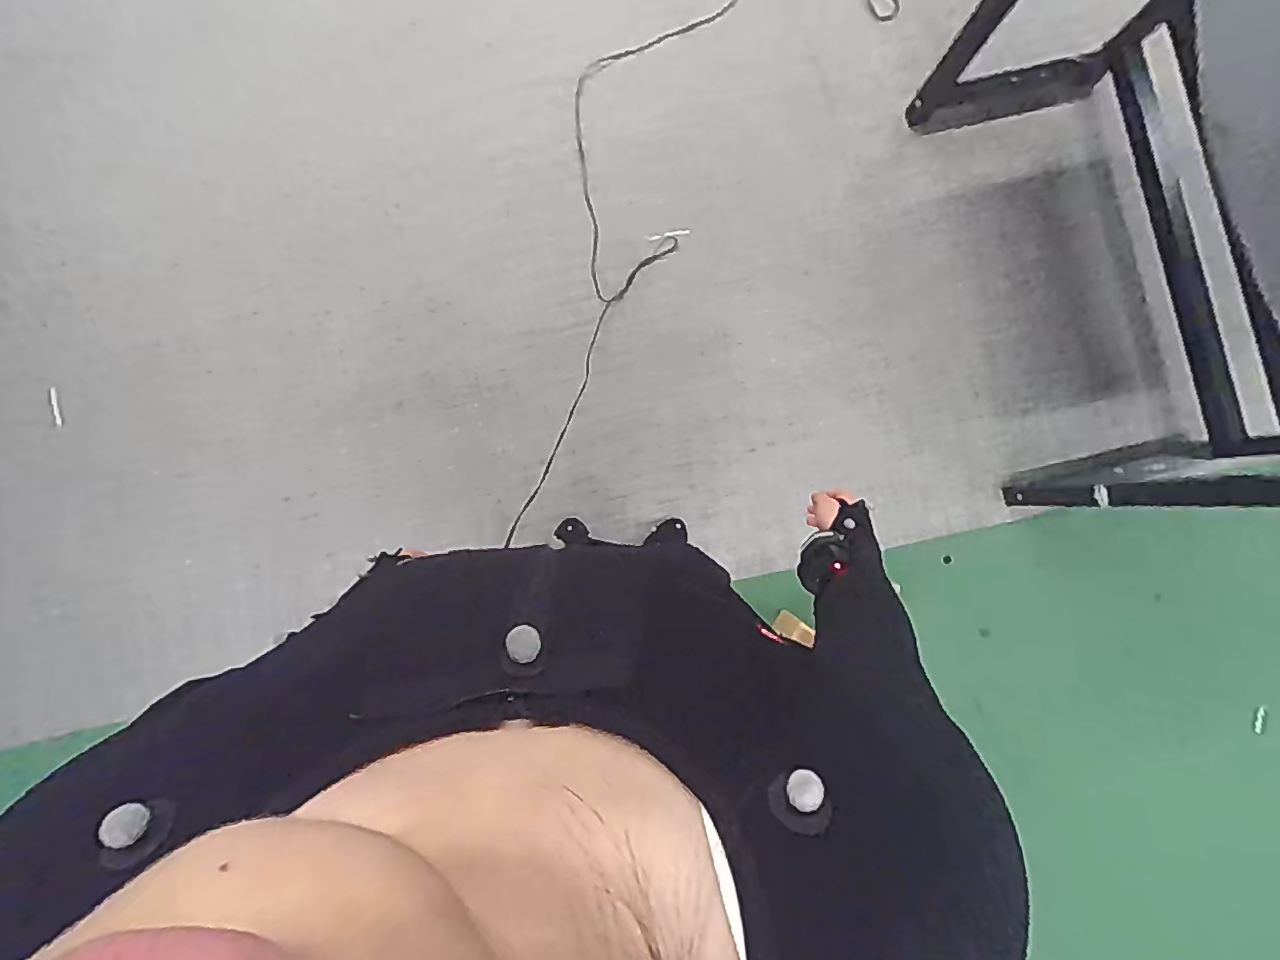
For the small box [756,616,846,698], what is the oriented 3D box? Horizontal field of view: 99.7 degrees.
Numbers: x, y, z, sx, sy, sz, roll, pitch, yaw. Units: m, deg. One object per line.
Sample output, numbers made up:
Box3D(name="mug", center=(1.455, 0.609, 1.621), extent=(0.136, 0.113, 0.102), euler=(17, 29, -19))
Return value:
Box3D(name="small box", center=(0.424, 0.470, 1.397), extent=(0.179, 0.176, 0.168), euler=(33, 87, 0))
